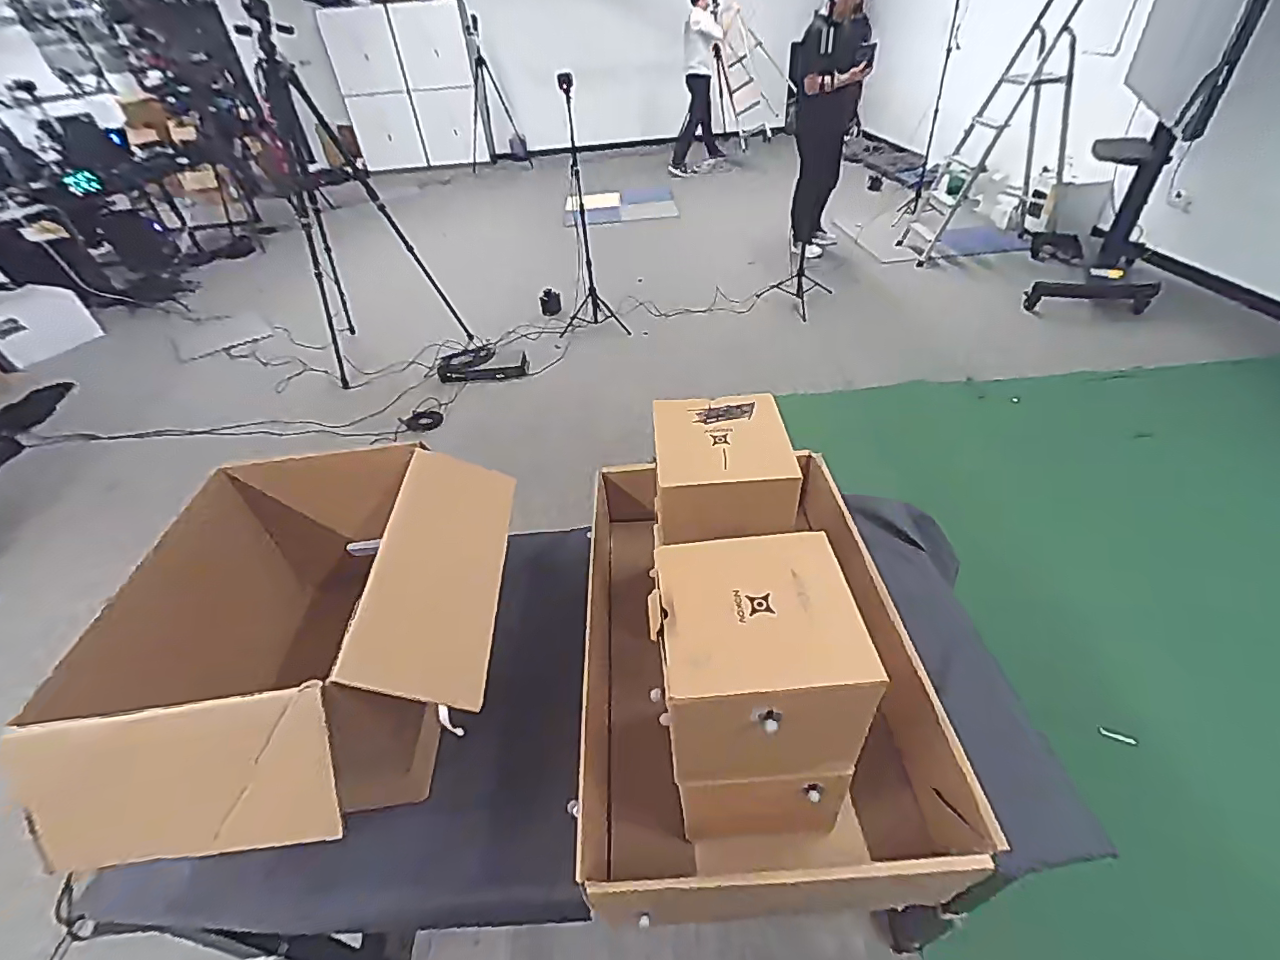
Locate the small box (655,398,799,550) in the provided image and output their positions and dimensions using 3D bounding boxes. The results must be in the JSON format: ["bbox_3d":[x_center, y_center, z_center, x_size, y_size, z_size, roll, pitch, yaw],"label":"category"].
[{"bbox_3d":[0.105,0.009,0.736,0.168,0.176,0.179,-4,43,1],"label":"small box"}]

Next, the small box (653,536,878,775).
[{"bbox_3d":[0.110,0.179,0.546,0.179,0.176,0.168,-5,41,0],"label":"small box"}]
